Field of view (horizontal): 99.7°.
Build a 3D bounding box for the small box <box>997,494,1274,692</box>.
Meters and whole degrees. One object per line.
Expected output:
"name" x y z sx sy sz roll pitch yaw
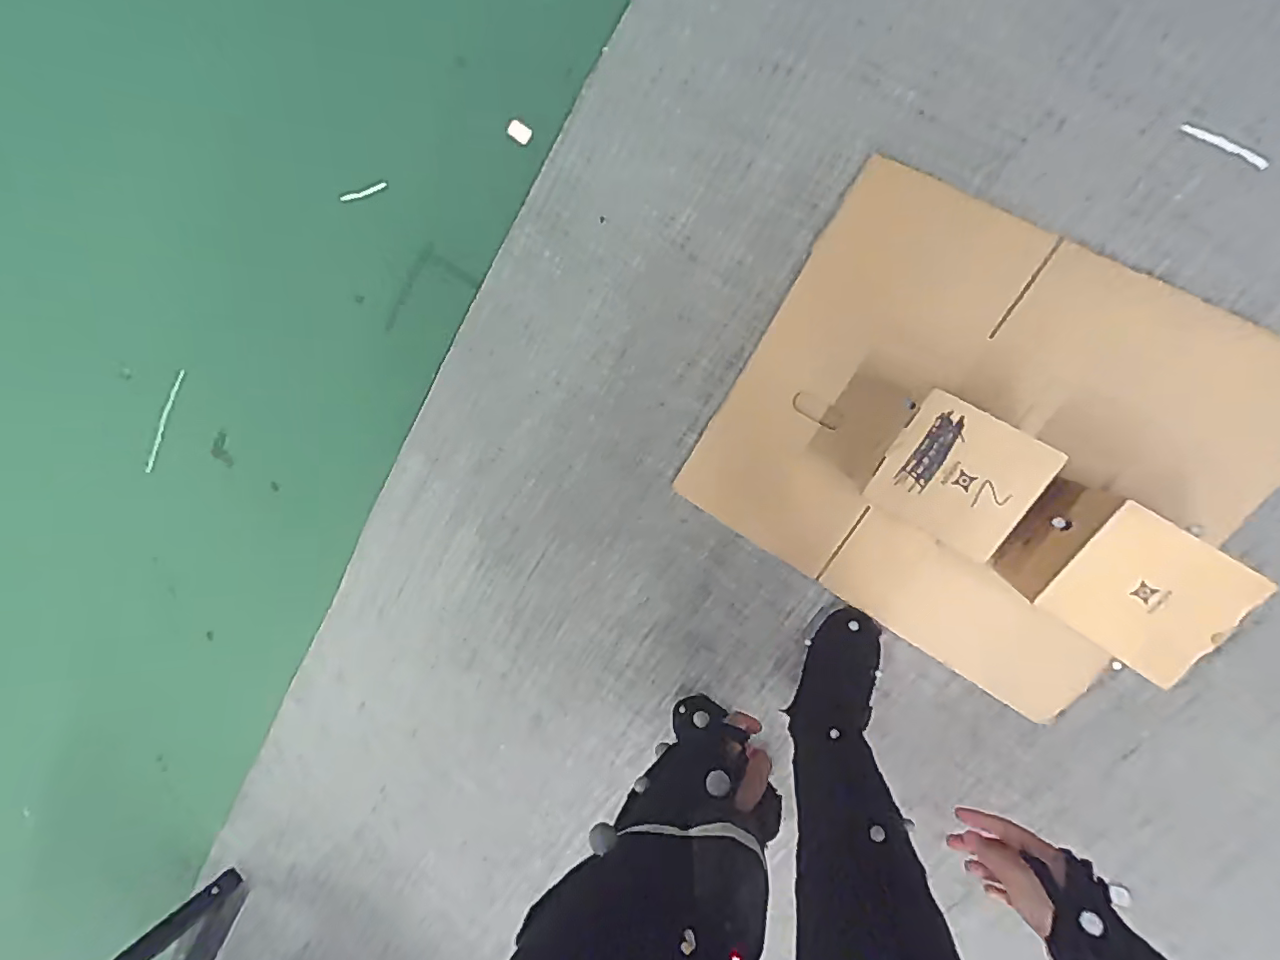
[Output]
"small box" 0.619 0.132 0.712 0.179 0.176 0.168 35 106 11
